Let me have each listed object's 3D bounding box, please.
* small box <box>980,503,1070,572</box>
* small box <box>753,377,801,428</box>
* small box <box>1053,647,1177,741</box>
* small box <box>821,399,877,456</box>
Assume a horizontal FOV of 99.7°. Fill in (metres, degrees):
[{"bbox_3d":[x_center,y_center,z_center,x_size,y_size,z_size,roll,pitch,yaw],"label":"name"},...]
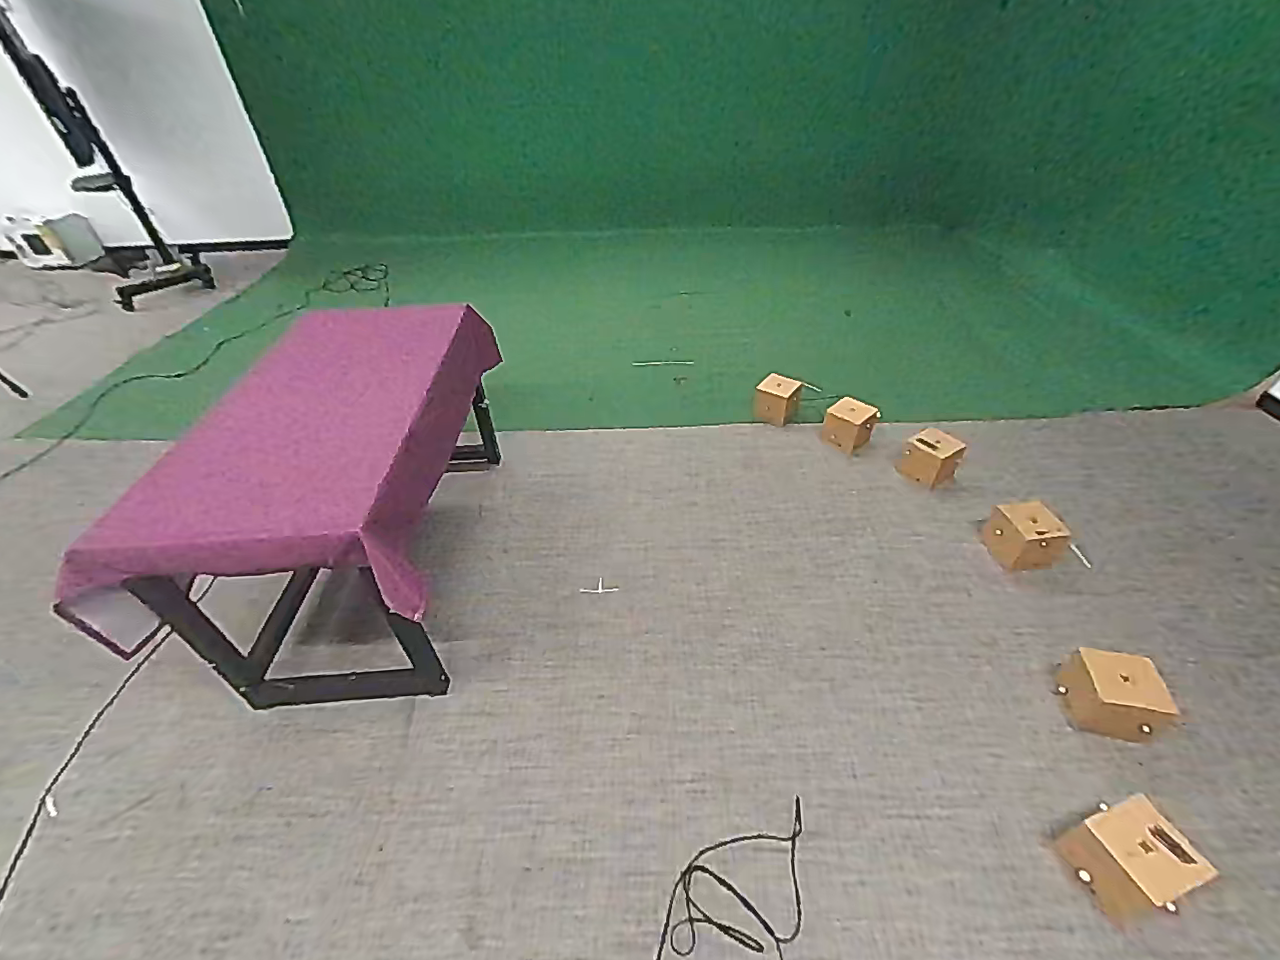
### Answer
[{"bbox_3d":[1.366,0.206,1.935,0.168,0.176,0.179,-6,39,-4],"label":"small box"},{"bbox_3d":[0.674,-0.382,2.674,0.168,0.176,0.179,25,47,28],"label":"small box"},{"bbox_3d":[1.288,0.590,1.482,0.179,0.176,0.168,7,40,12],"label":"small box"},{"bbox_3d":[0.958,-0.241,2.496,0.179,0.176,0.168,-33,48,-31],"label":"small box"}]
